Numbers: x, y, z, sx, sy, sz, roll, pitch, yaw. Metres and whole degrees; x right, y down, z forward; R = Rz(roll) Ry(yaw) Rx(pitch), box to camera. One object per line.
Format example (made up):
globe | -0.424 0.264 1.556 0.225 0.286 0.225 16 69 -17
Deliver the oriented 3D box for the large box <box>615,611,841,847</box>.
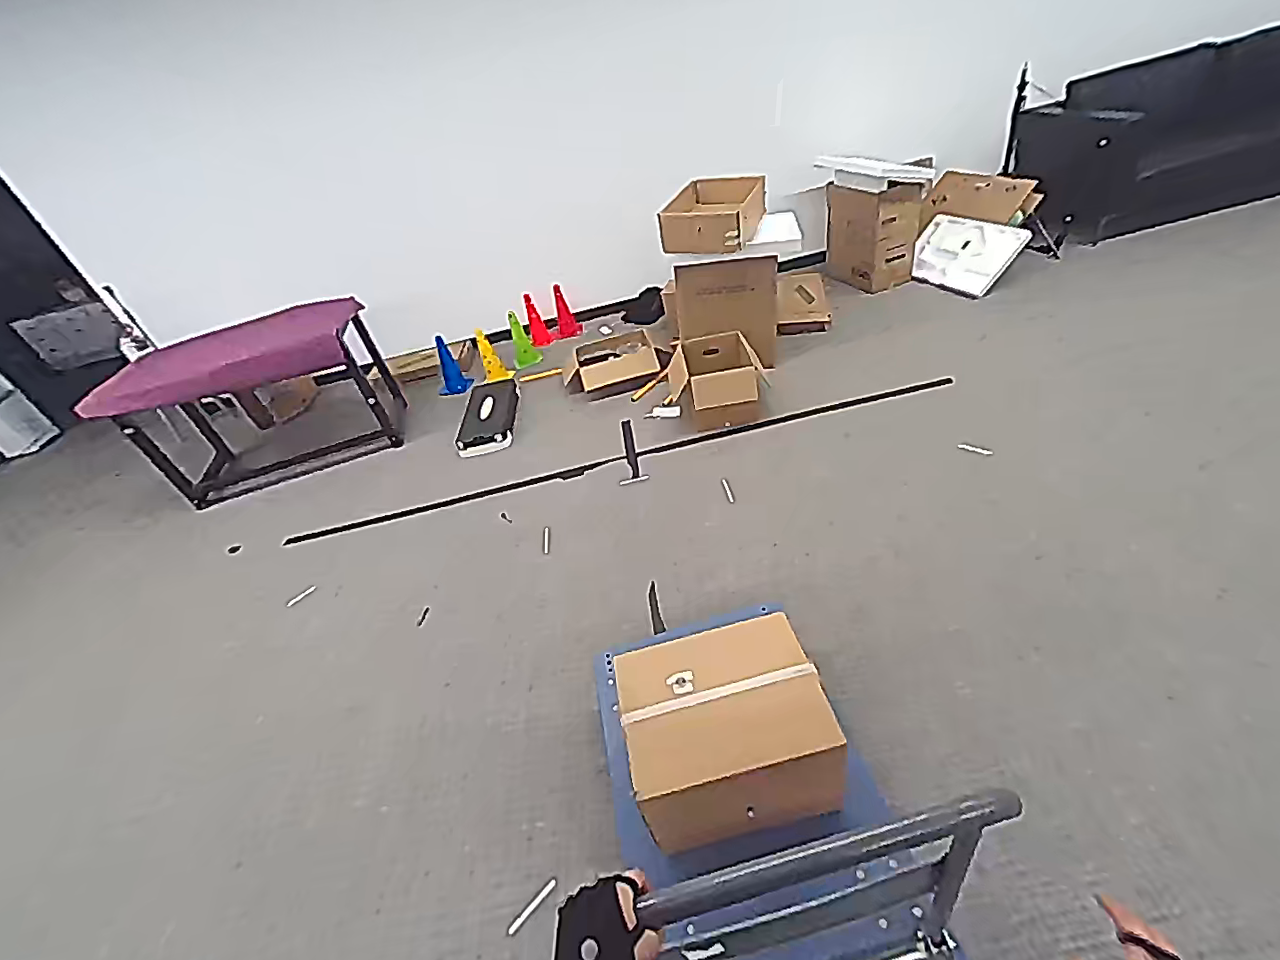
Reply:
large box | 0.190 0.556 1.215 0.408 0.320 0.320 -16 37 -1
